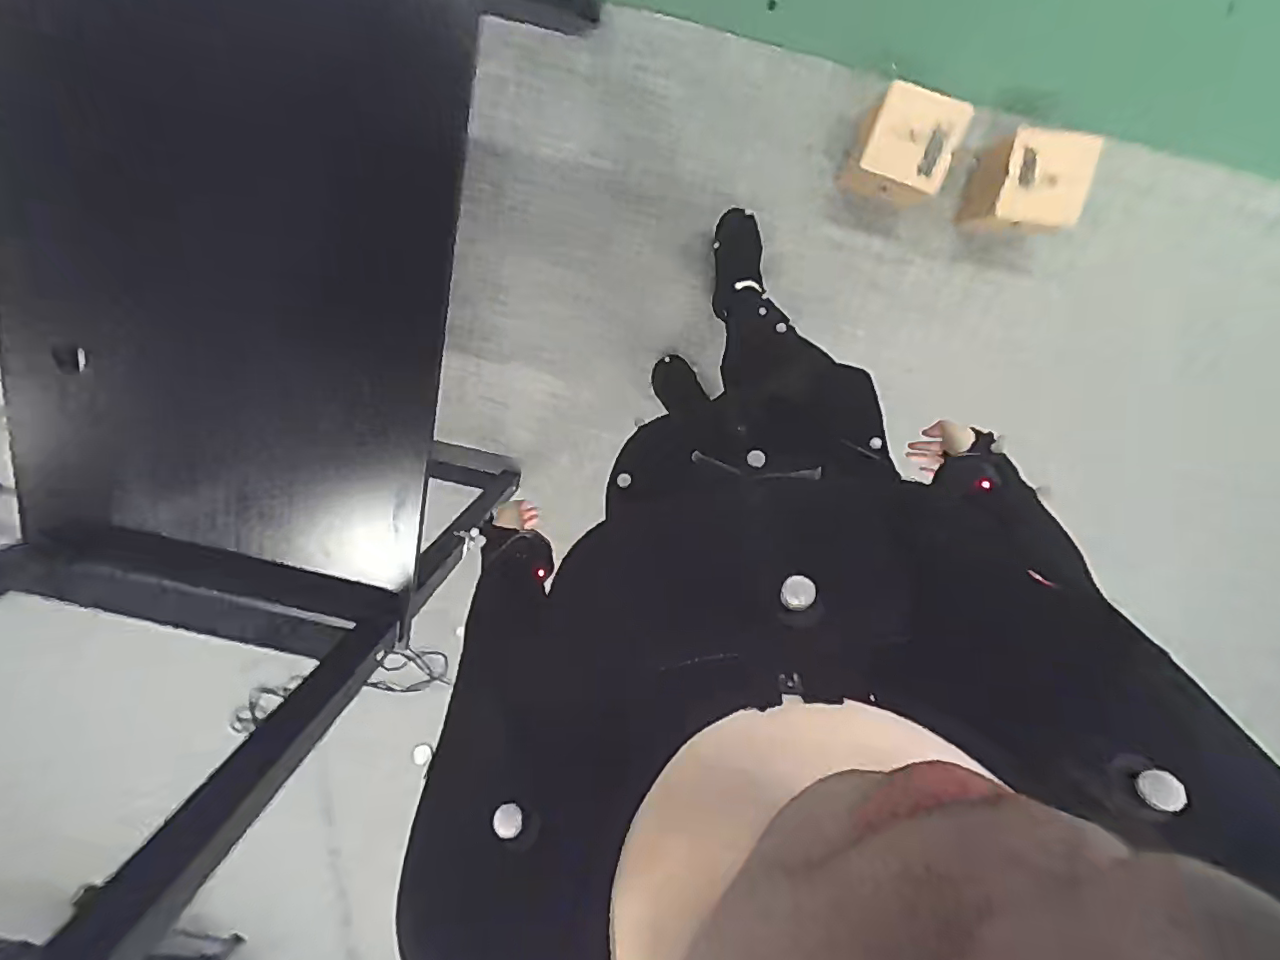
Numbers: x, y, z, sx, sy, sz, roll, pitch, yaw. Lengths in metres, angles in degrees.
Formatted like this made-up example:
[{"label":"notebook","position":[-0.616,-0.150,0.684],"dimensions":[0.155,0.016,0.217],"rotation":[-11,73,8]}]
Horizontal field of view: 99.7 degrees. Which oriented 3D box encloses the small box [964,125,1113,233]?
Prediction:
[{"label":"small box","position":[0.839,-0.636,1.162],"dimensions":[0.179,0.176,0.168],"rotation":[7,109,0]}]
